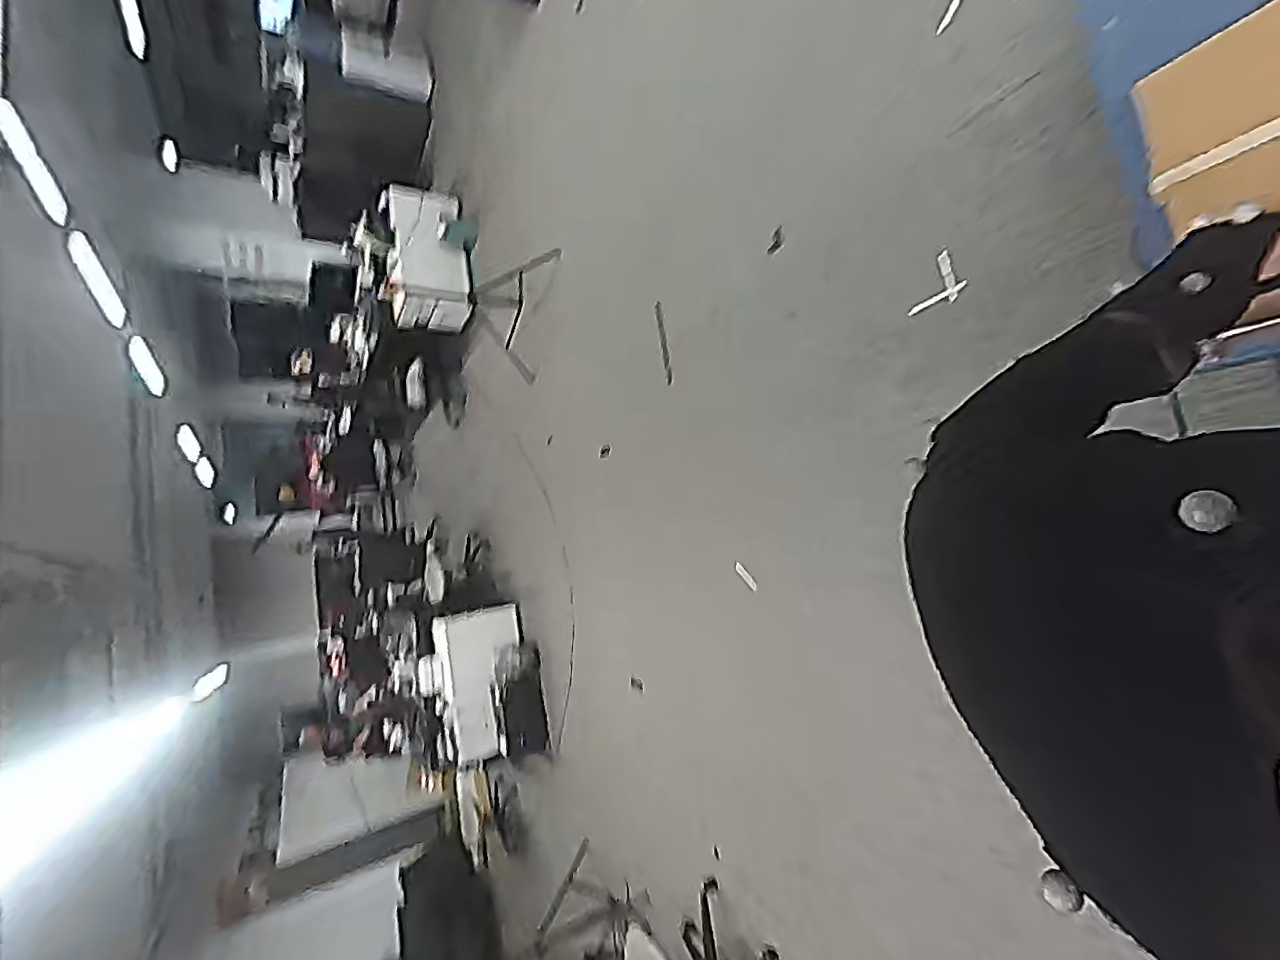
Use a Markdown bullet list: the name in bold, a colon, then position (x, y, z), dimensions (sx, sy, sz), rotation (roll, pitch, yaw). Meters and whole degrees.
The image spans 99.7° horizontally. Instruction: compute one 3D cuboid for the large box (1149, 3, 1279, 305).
- **large box**: position (0.980, -0.465, 0.679), dimensions (0.408, 0.320, 0.320), rotation (-17, 80, 55)
